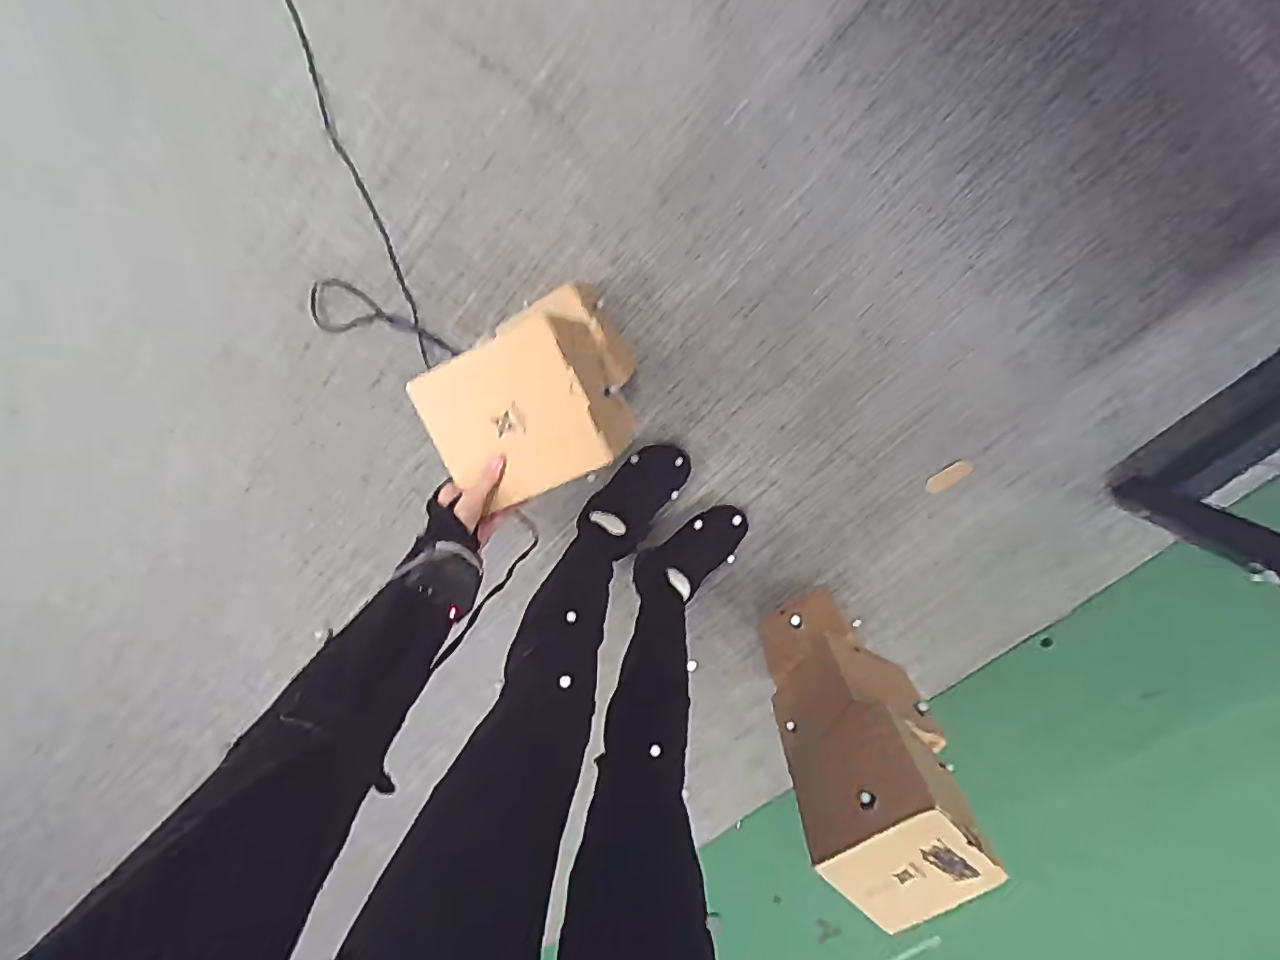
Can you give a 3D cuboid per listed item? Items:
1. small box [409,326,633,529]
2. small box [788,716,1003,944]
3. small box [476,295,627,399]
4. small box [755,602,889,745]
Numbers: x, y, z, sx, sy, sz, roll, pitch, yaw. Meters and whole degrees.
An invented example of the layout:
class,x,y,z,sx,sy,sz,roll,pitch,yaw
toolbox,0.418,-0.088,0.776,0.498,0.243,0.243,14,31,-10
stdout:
class,x,y,z,sx,sy,sz,roll,pitch,yaw
small box,-0.126,-0.064,0.644,0.179,0.176,0.168,-23,97,12
small box,0.329,0.463,0.735,0.179,0.176,0.168,-40,103,16
small box,-0.131,-0.188,0.886,0.179,0.176,0.168,-27,105,12
small box,0.341,0.362,1.048,0.168,0.176,0.179,-32,103,13
